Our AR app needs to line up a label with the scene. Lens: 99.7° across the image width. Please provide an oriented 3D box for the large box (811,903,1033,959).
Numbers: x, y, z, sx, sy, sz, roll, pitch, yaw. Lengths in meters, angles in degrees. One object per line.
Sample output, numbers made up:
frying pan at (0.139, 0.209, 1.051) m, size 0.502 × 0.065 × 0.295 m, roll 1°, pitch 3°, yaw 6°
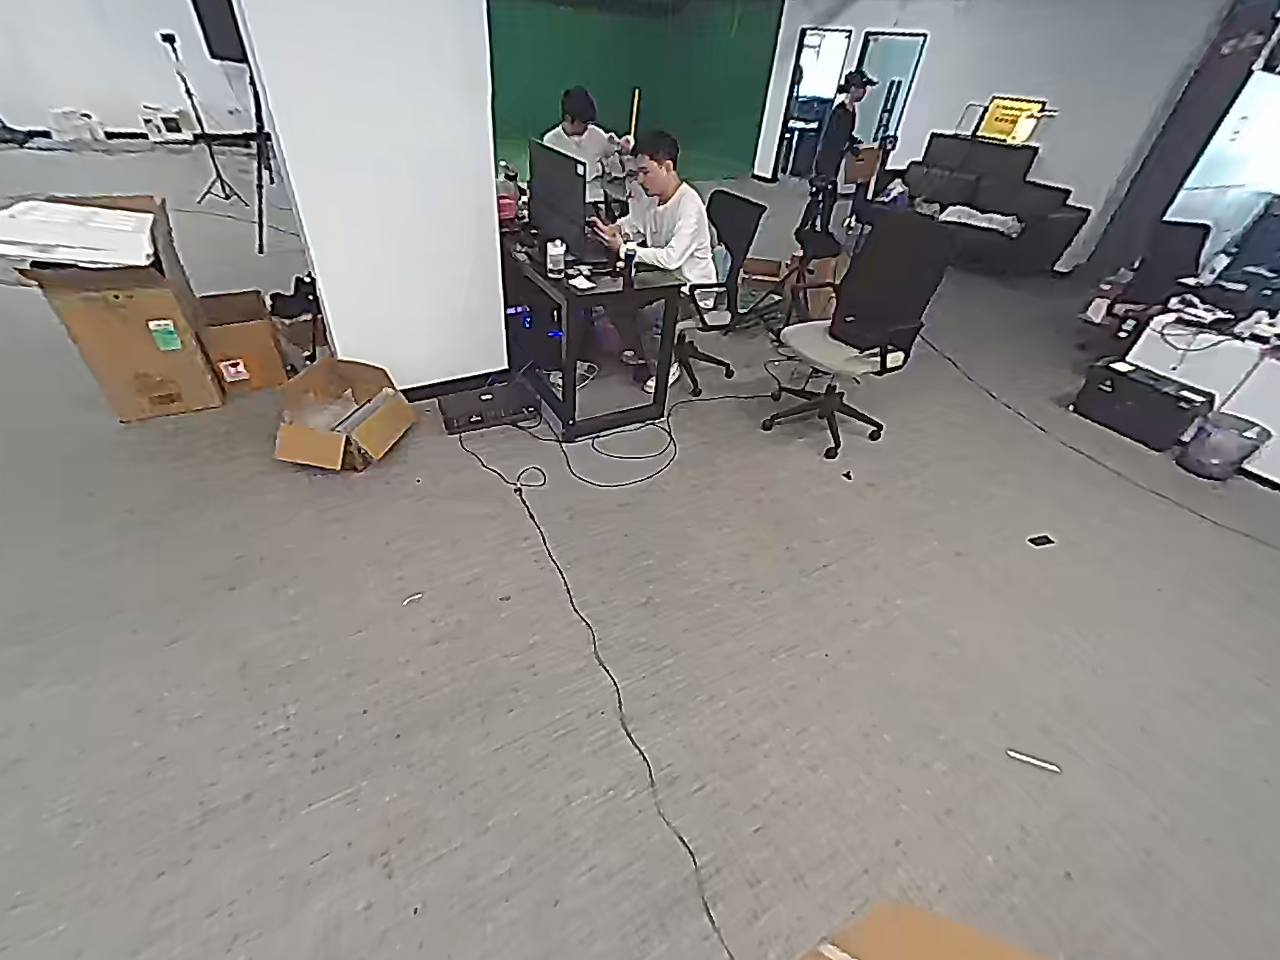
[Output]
large box at (0.390, 0.772, 0.599) m, size 0.320 × 0.408 × 0.320 m, roll -14°, pitch 72°, yaw -21°
